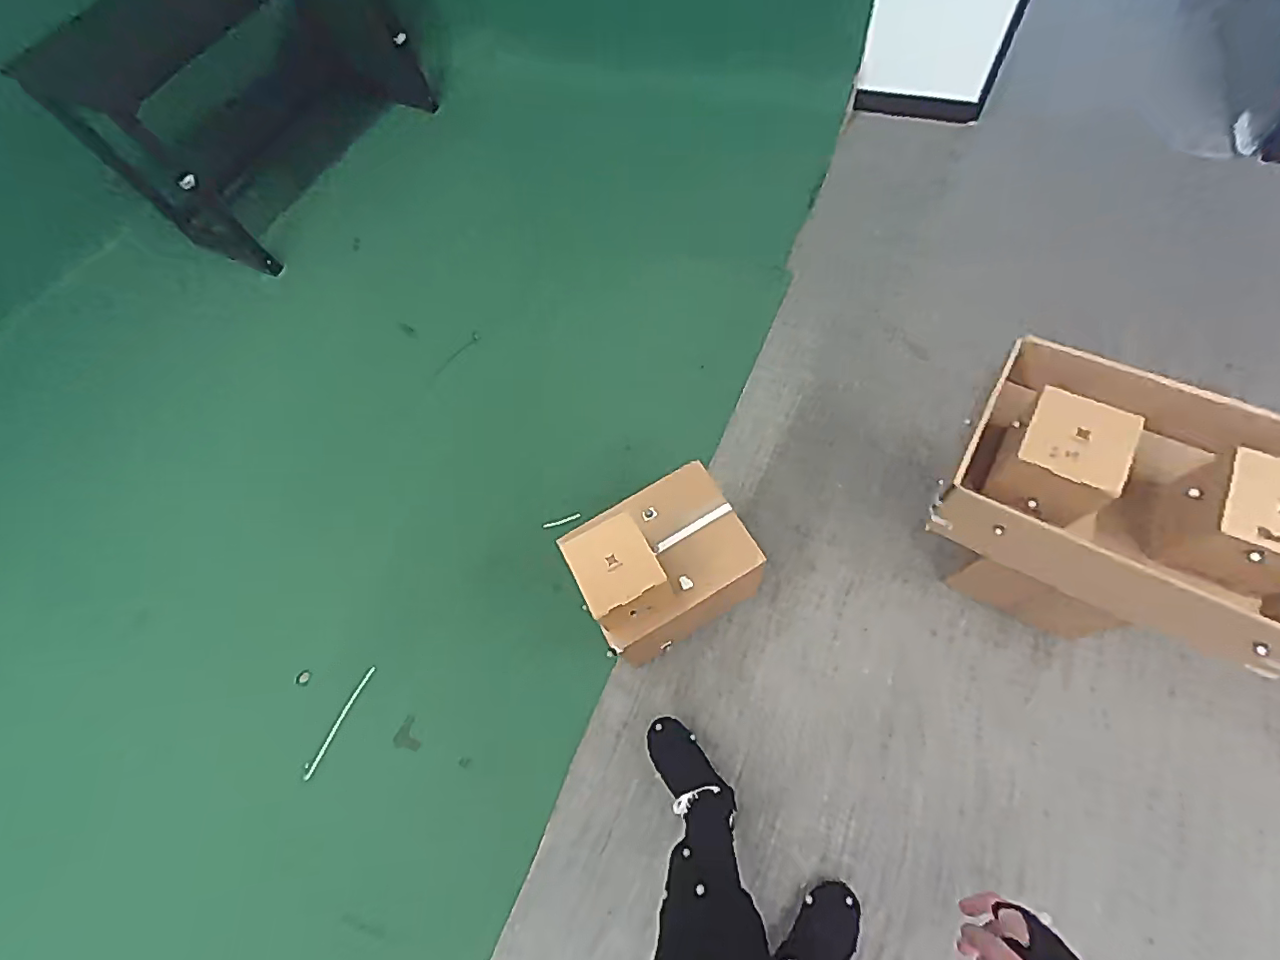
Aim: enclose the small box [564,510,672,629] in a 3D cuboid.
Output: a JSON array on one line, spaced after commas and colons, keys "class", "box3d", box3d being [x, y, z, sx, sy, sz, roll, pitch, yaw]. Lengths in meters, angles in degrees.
[{"class": "small box", "box3d": [-0.043, 0.198, 1.165, 0.168, 0.176, 0.179, -28, 67, -6]}]
